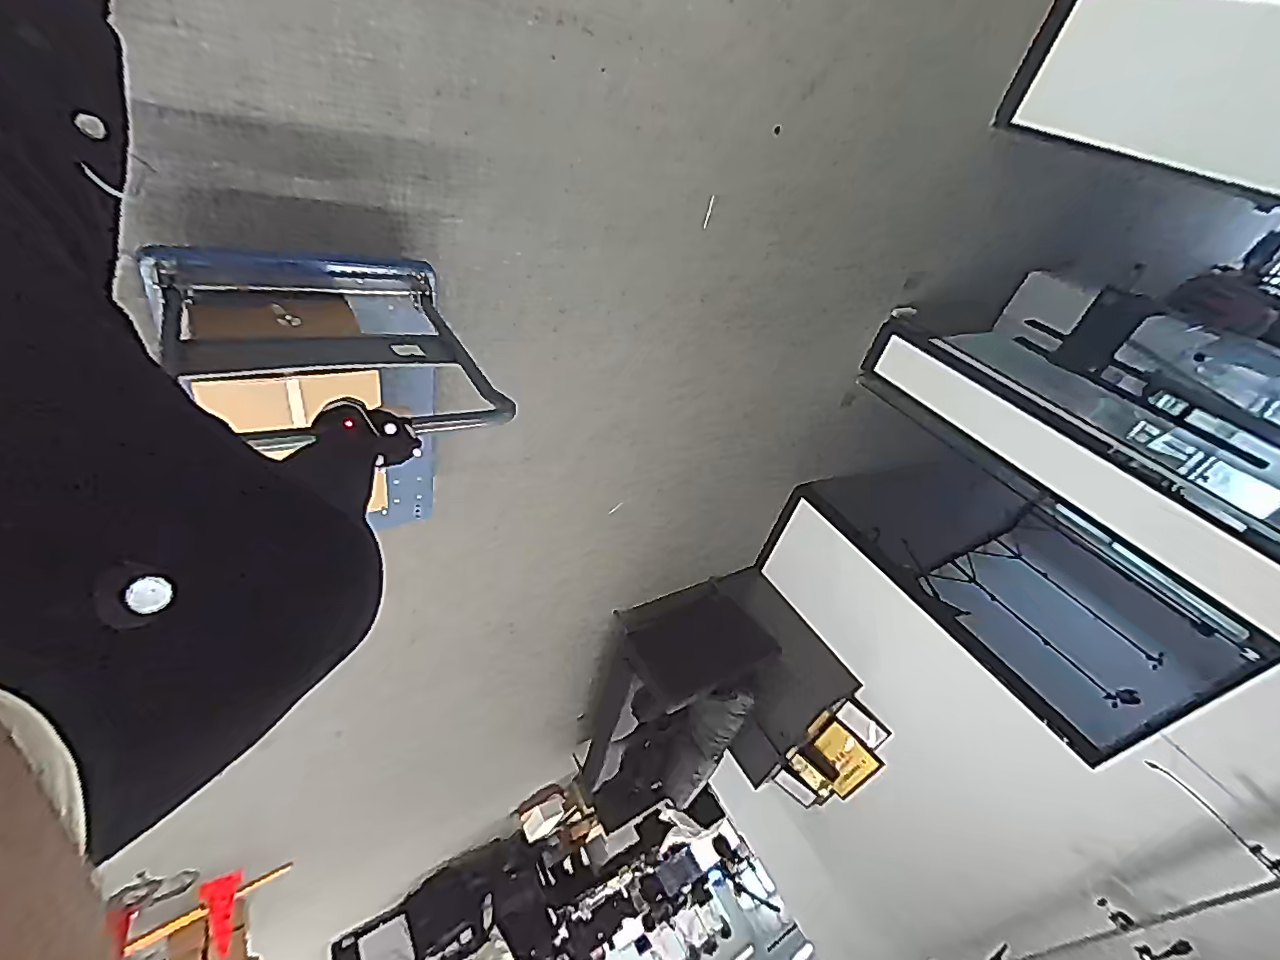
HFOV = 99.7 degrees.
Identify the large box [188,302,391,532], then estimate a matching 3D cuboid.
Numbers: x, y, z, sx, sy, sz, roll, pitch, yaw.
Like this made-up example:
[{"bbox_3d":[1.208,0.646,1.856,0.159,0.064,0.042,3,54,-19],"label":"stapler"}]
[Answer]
[{"bbox_3d":[-0.790,-0.155,1.250,0.320,0.320,0.408,-12,137,-32],"label":"large box"}]
